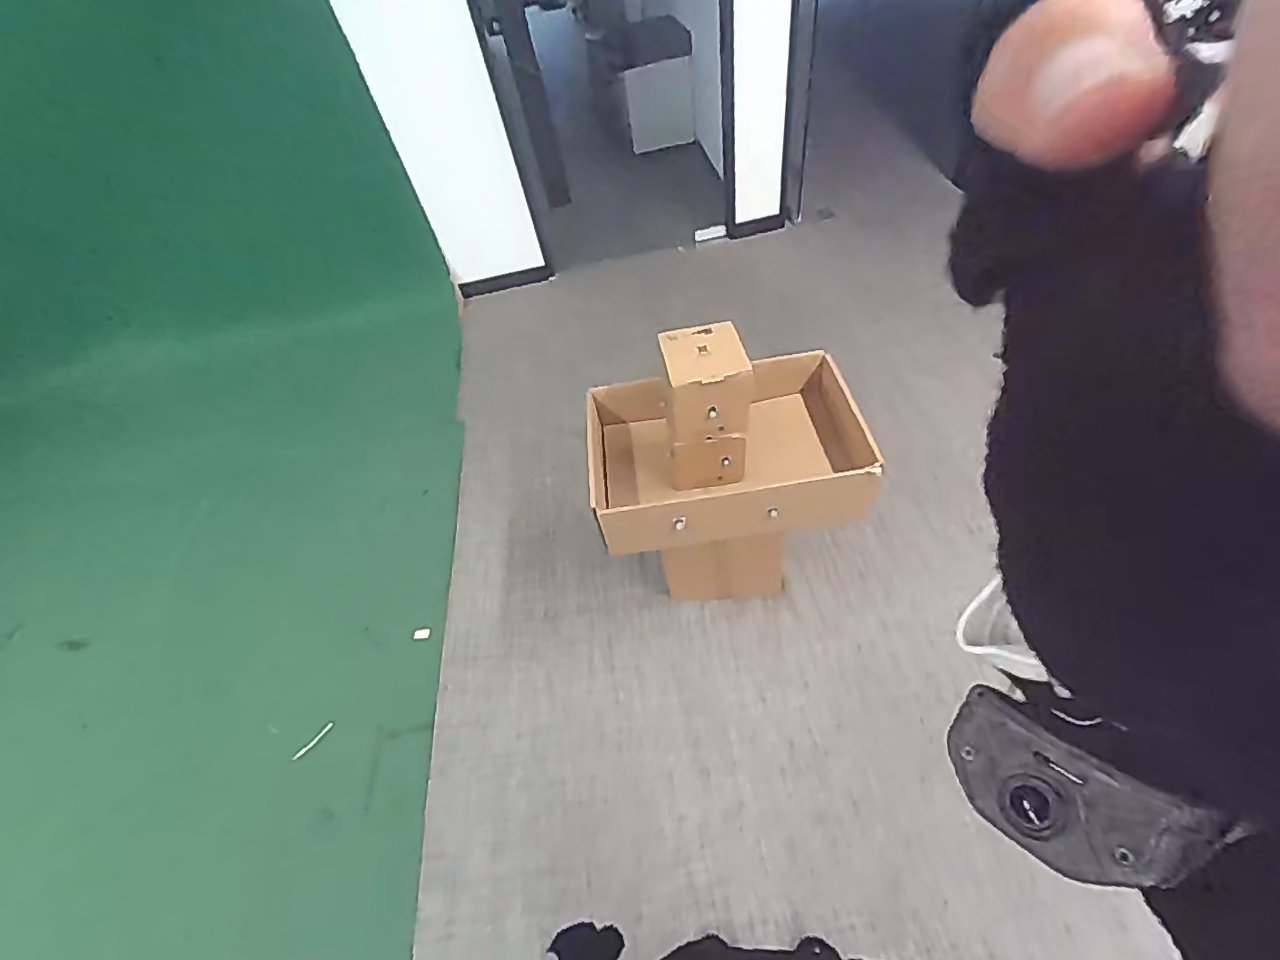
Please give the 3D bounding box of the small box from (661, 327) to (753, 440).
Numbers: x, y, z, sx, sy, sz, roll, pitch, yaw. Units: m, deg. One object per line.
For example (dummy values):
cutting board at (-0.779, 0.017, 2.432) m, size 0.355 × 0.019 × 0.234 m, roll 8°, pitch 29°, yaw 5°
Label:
small box at (0.144, -0.203, 1.179) m, size 0.168 × 0.176 × 0.179 m, roll -9°, pitch 51°, yaw -1°

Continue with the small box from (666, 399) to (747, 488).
small box at (0.158, -0.094, 1.300) m, size 0.168 × 0.176 × 0.179 m, roll -7°, pitch 49°, yaw 1°
